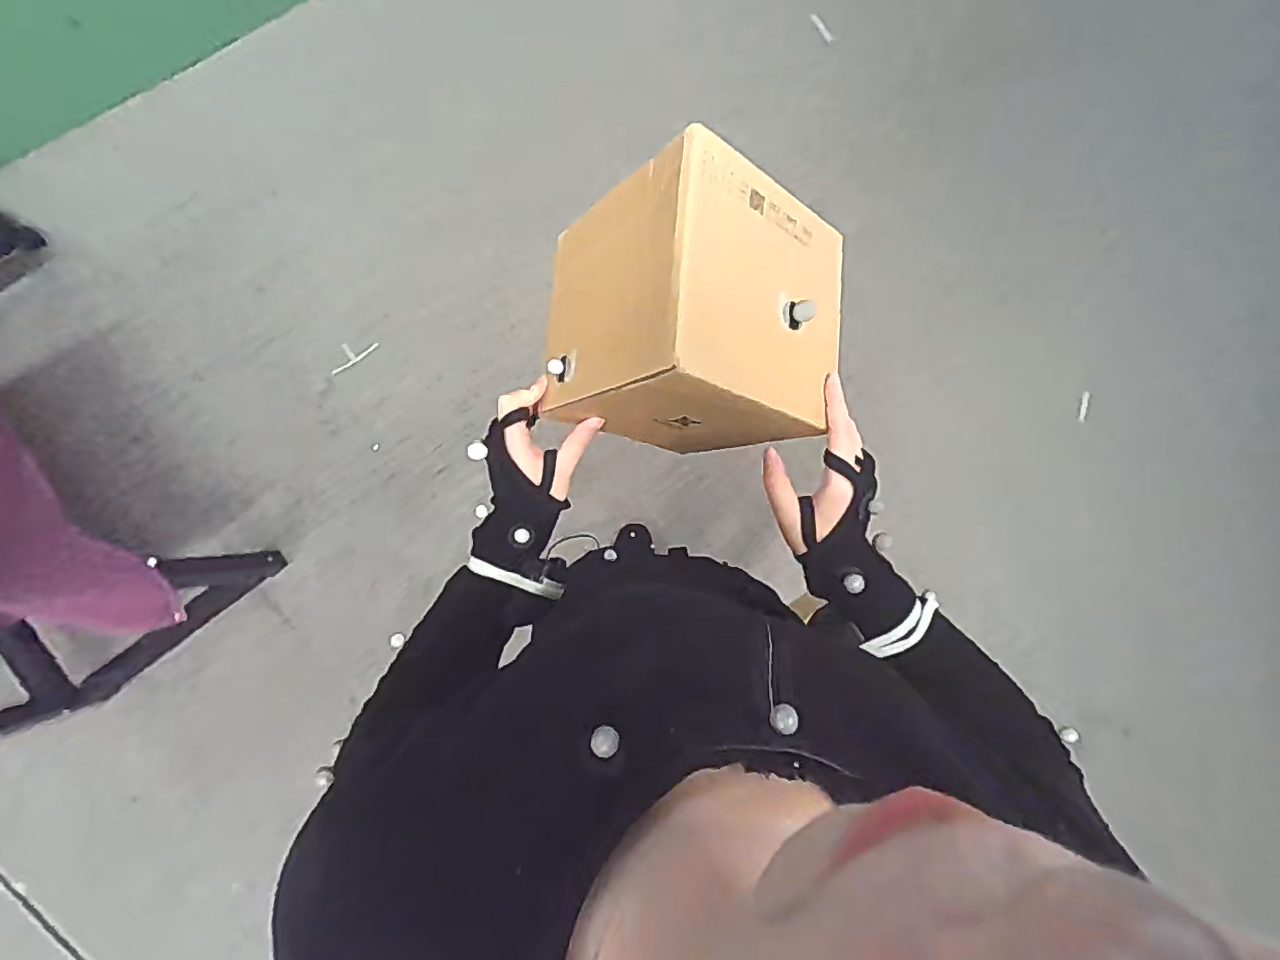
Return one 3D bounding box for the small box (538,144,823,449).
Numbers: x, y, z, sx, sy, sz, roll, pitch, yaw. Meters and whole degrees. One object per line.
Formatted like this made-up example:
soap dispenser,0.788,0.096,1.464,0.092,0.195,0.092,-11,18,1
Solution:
small box,0.032,-0.130,0.450,0.168,0.179,0.176,11,80,-36
